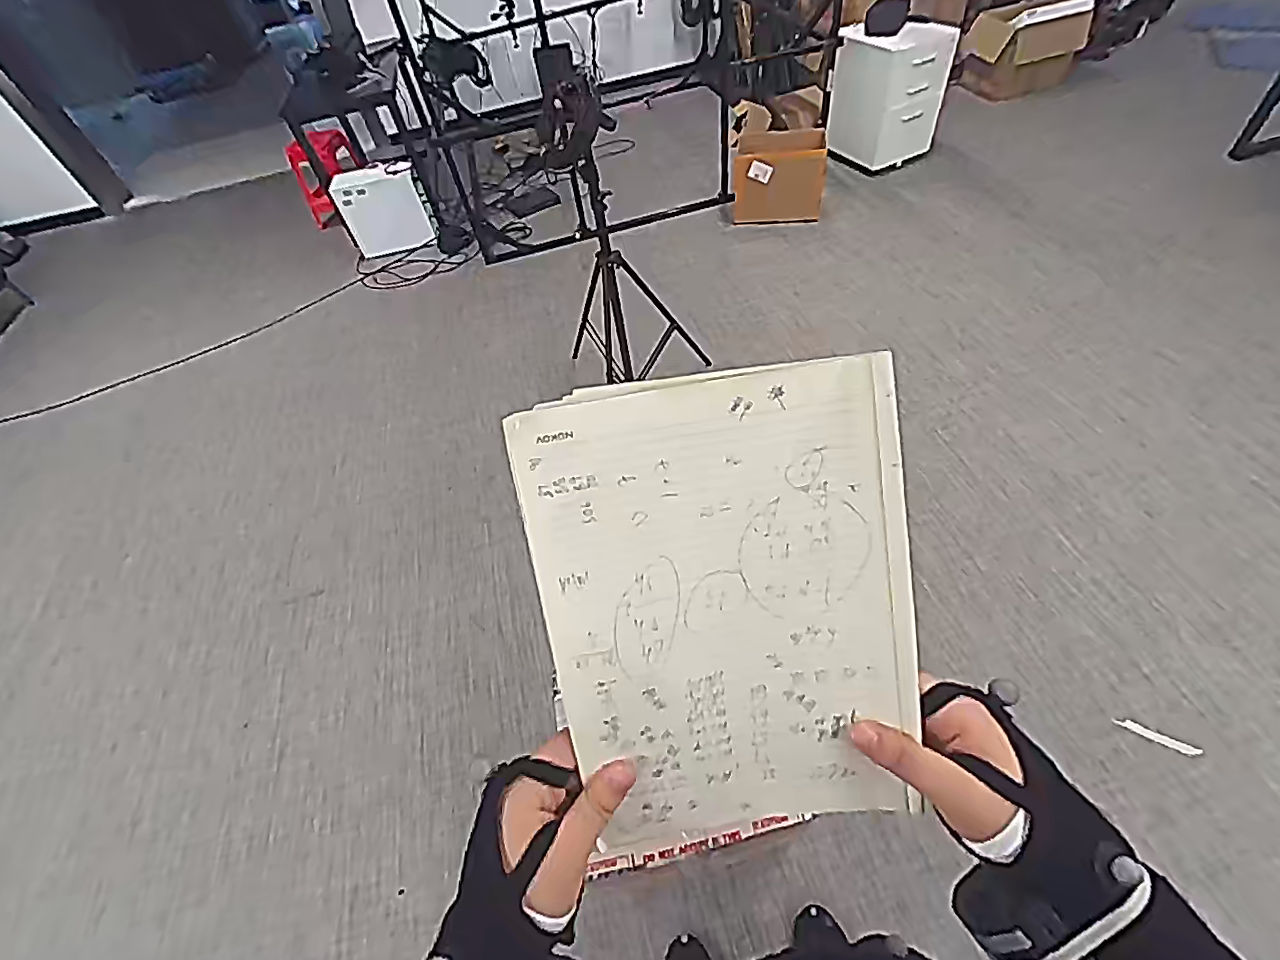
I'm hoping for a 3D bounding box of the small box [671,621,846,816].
[{"bbox_3d":[0.140,0.316,0.711,0.168,0.176,0.179,-13,52,-4],"label":"small box"}]

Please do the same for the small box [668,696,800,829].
[{"bbox_3d":[0.151,0.418,0.840,0.179,0.176,0.168,-16,52,-6],"label":"small box"}]
